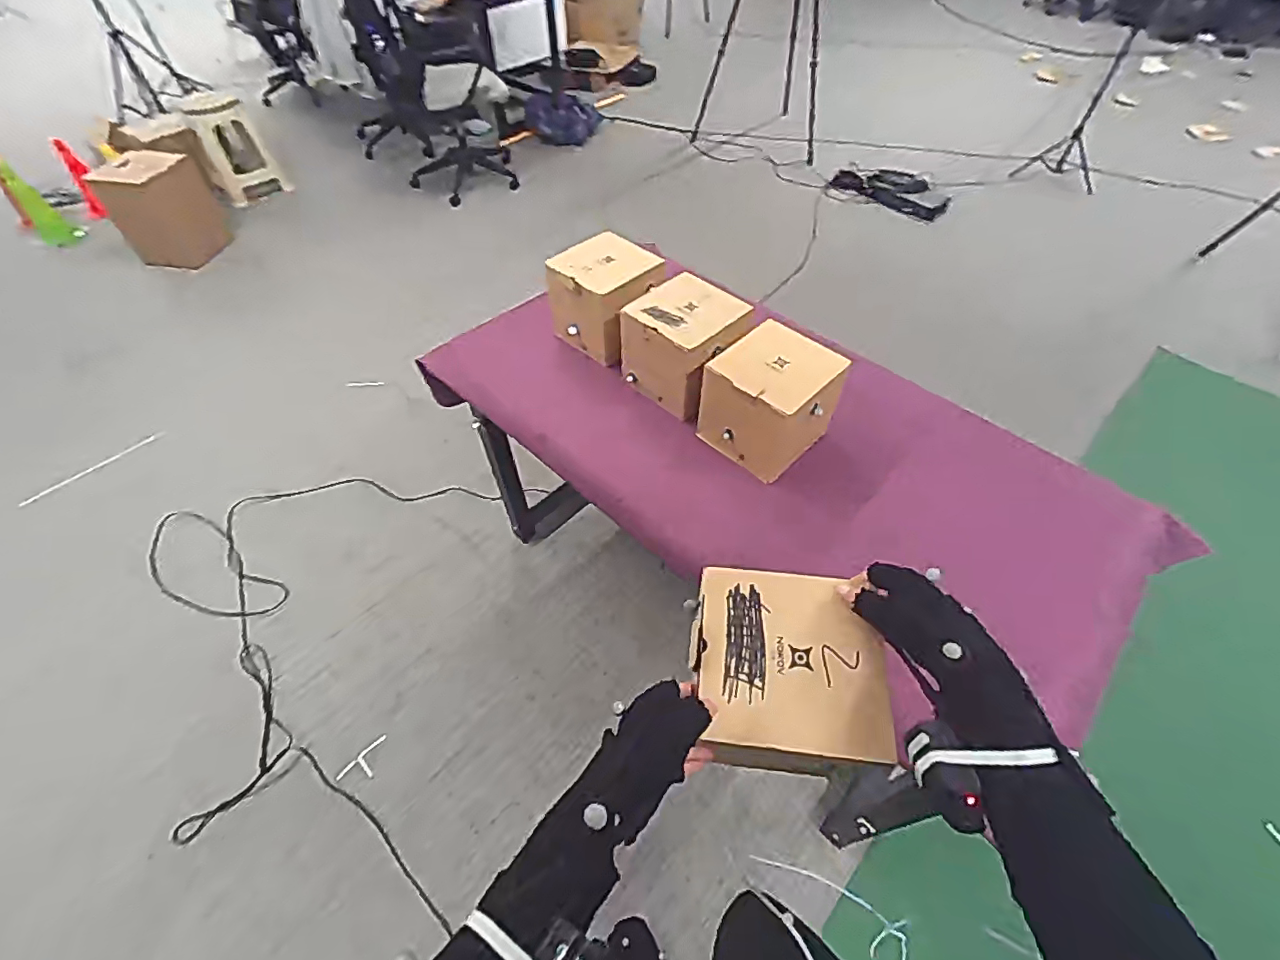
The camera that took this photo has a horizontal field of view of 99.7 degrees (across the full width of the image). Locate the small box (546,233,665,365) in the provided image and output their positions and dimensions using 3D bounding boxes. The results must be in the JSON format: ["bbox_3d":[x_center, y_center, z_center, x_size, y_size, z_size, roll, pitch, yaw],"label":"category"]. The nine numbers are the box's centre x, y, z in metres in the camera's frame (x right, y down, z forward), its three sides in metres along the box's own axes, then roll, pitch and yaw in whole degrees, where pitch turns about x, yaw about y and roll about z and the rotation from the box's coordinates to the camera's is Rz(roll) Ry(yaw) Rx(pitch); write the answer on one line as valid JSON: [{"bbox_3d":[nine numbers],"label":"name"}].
[{"bbox_3d":[-0.068,-0.371,1.114,0.168,0.176,0.179,37,61,26],"label":"small box"}]

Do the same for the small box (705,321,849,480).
[{"bbox_3d":[0.223,-0.136,0.932,0.168,0.176,0.179,37,63,28],"label":"small box"}]
